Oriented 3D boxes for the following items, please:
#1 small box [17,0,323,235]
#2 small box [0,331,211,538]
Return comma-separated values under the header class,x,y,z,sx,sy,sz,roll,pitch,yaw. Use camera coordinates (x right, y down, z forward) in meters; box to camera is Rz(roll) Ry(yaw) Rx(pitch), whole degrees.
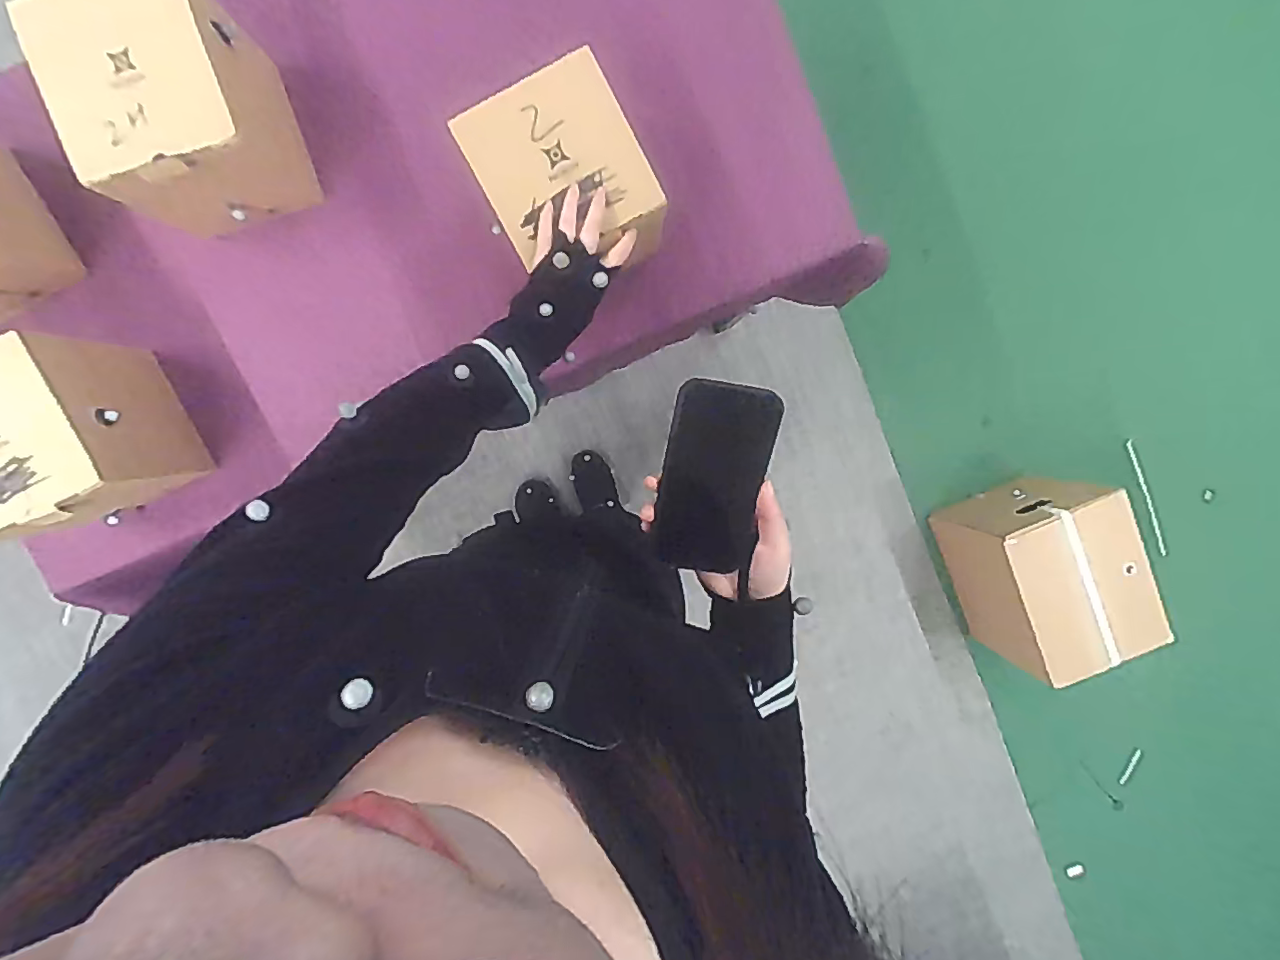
class,x,y,z,sx,sy,sz,roll,pitch,yaw
small box,-0.502,-0.409,0.610,0.168,0.176,0.179,-17,97,0
small box,-0.673,-0.052,0.641,0.168,0.176,0.179,-25,95,-1
